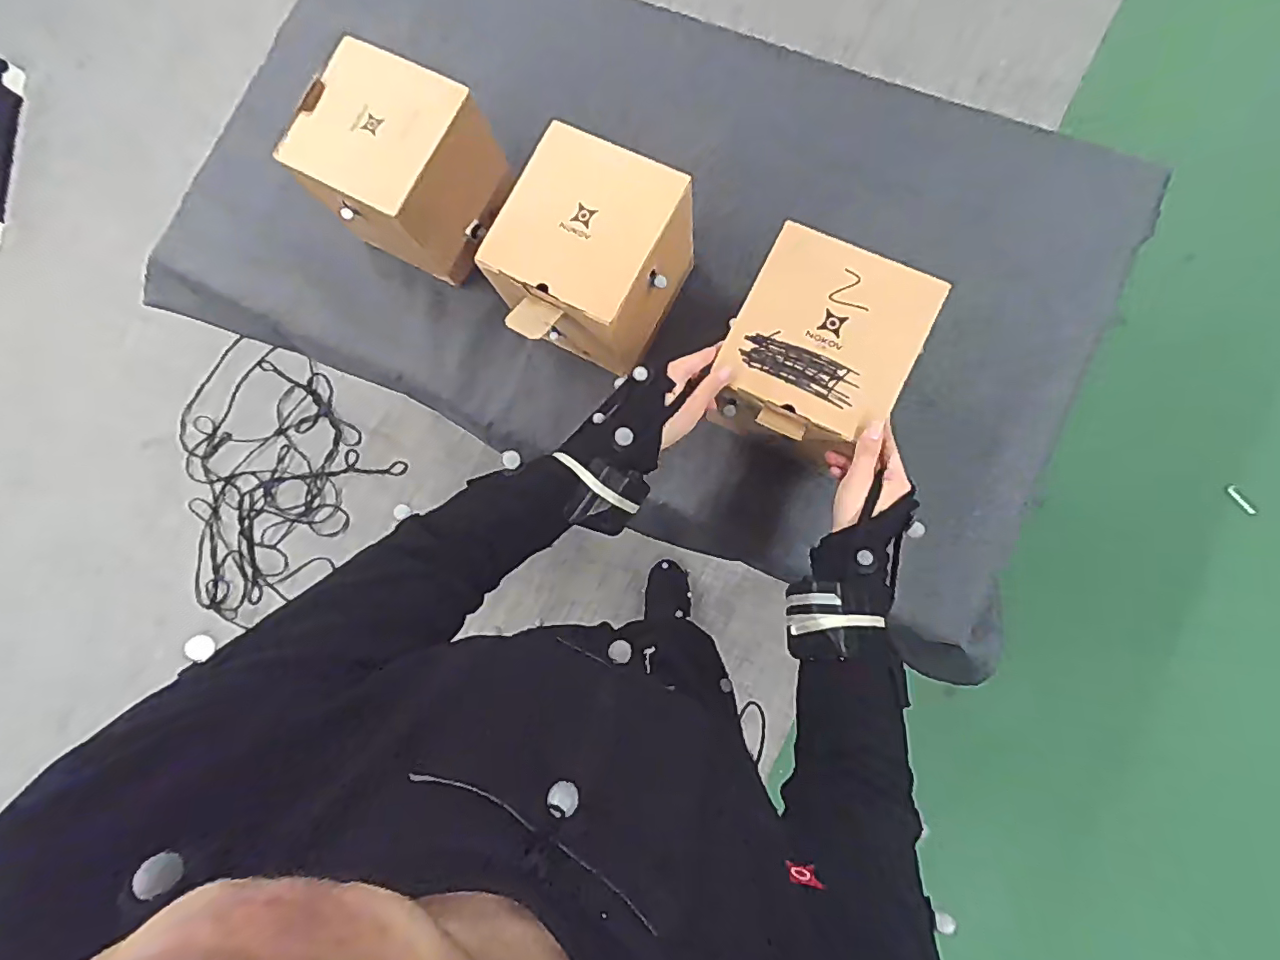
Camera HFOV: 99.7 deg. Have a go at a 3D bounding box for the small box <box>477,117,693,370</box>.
[{"bbox_3d":[-0.051,-0.256,0.625,0.168,0.176,0.179,28,87,8],"label":"small box"}]

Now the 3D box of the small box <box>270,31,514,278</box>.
[{"bbox_3d":[-0.287,-0.382,0.665,0.179,0.176,0.168,29,87,8],"label":"small box"}]
